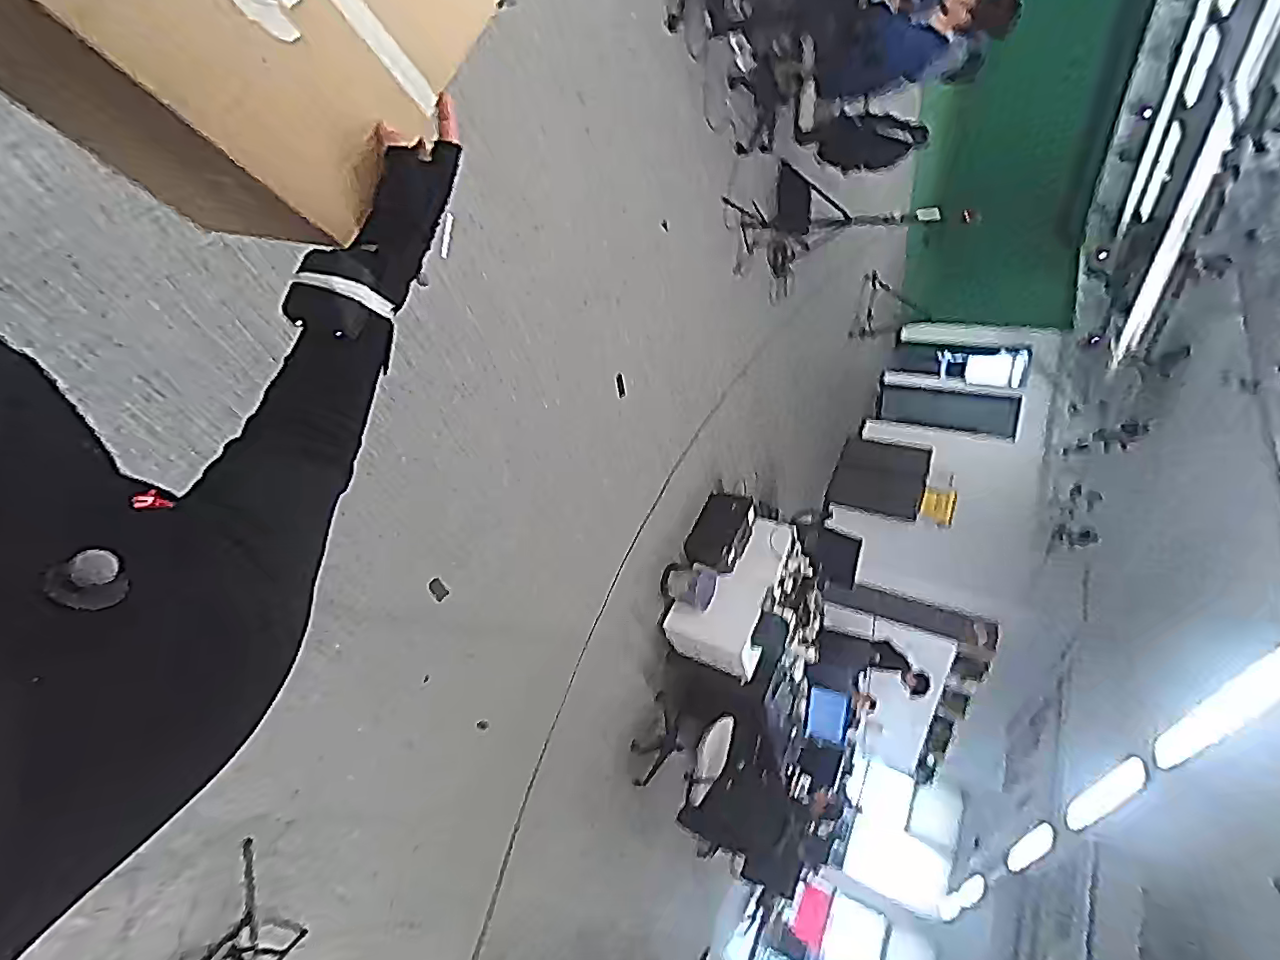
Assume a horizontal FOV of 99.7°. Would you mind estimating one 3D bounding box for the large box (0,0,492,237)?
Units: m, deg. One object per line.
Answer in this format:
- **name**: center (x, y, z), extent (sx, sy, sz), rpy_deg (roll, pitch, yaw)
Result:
- **large box**: center (-0.403, -0.459, 0.415), extent (0.320, 0.320, 0.408), rpy_deg (-64, 149, -8)
